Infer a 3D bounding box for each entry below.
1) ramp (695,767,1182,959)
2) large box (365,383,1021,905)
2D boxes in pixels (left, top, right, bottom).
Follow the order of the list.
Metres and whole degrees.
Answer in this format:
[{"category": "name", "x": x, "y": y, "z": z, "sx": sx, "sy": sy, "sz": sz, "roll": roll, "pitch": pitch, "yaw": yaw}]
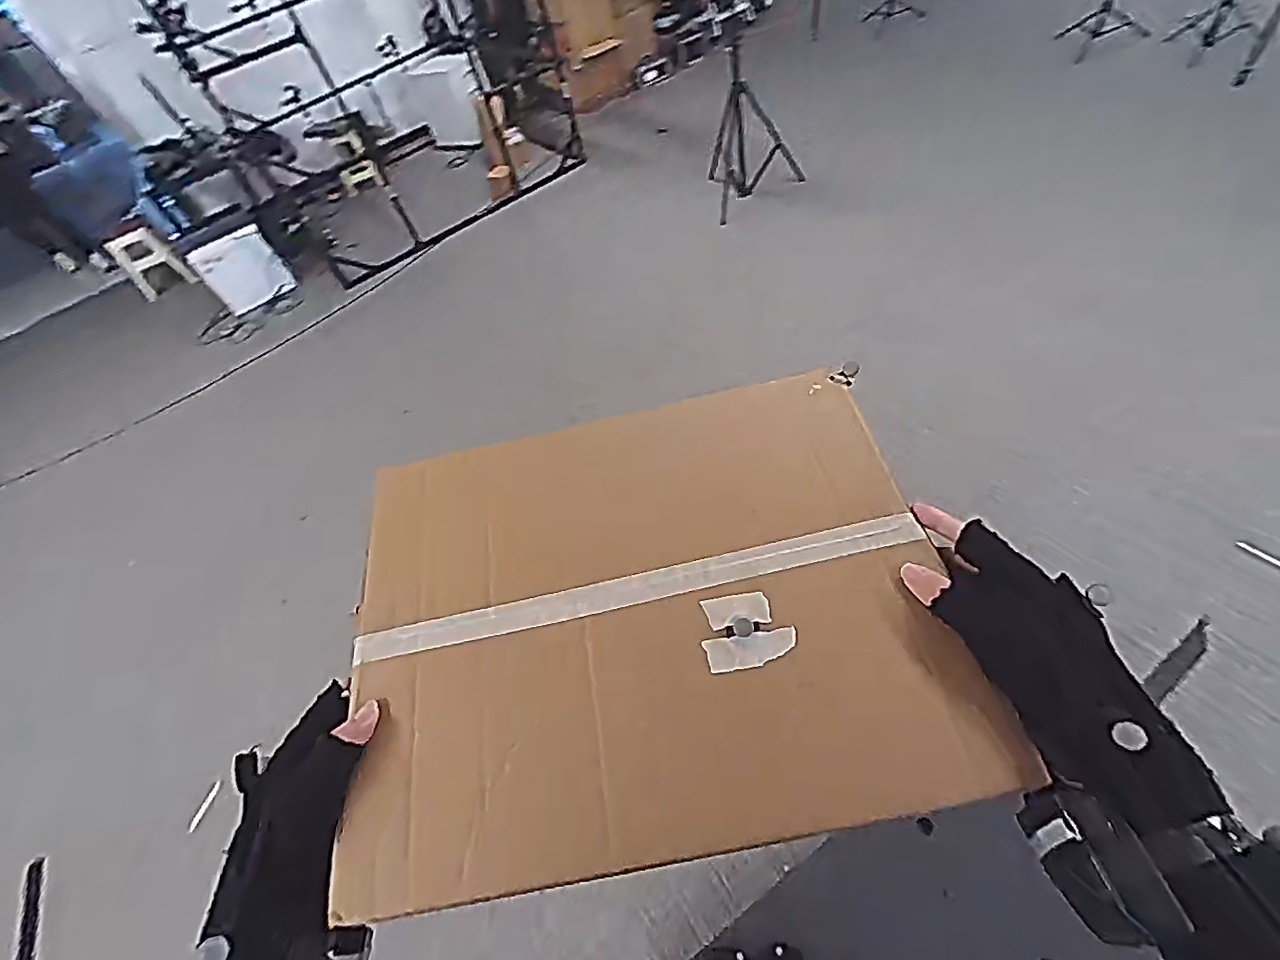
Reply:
[{"category": "ramp", "x": 0.541, "y": 0.960, "z": 1.065, "sx": 0.991, "sy": 0.206, "sz": 0.509, "roll": -35, "pitch": 50, "yaw": -13}, {"category": "large box", "x": 0.023, "y": 0.162, "z": 0.519, "sx": 0.408, "sy": 0.320, "sz": 0.320, "roll": -12, "pitch": 58, "yaw": 2}]
